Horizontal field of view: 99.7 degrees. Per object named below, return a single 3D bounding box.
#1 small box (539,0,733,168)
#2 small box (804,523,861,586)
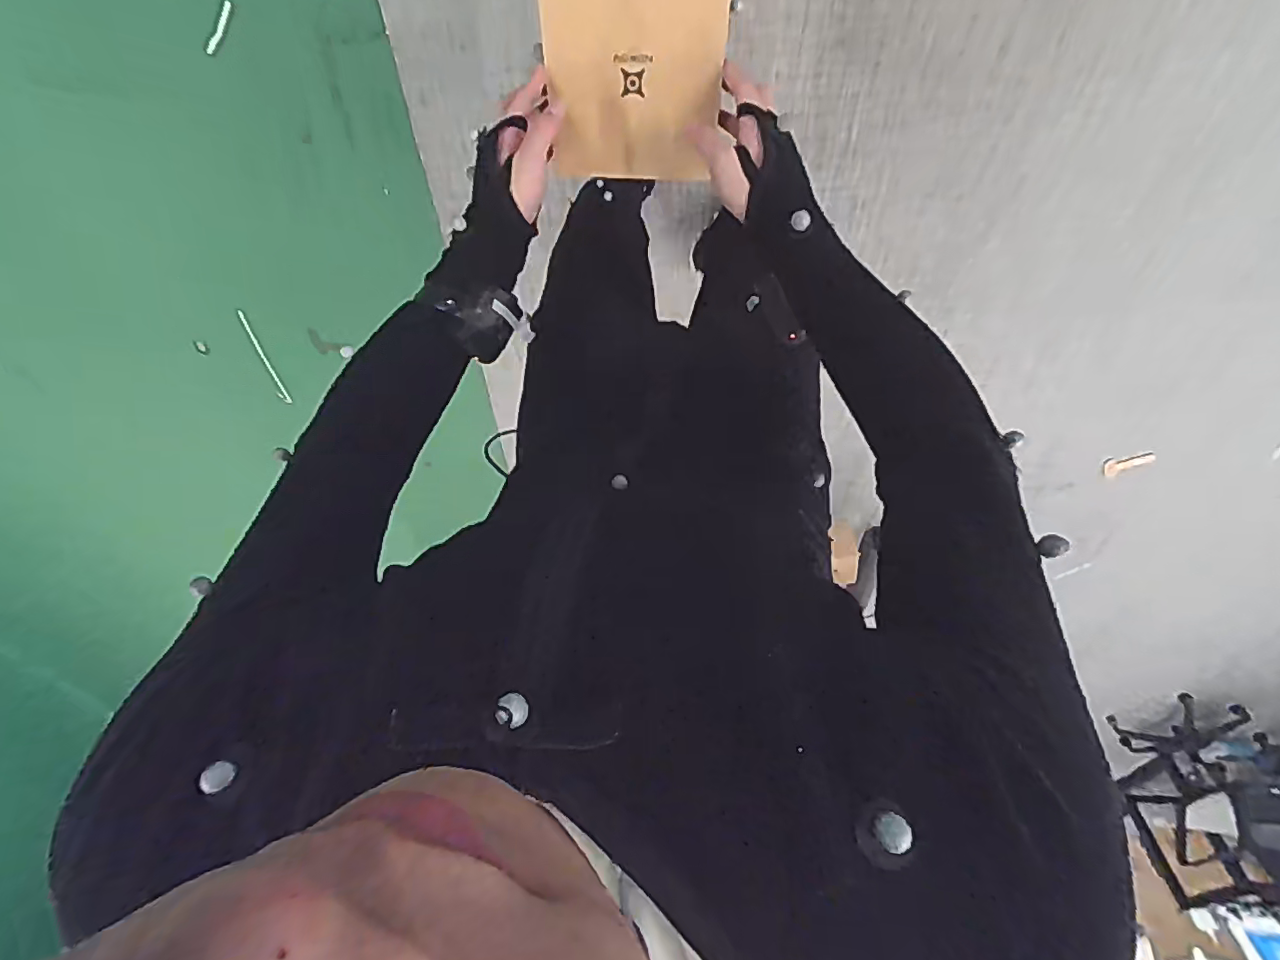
[{"bbox_3d":[0.001,-0.436,0.532,0.168,0.176,0.179,3,138,2],"label":"small box"},{"bbox_3d":[0.721,0.275,2.041,0.168,0.176,0.179,-7,134,9],"label":"small box"}]
